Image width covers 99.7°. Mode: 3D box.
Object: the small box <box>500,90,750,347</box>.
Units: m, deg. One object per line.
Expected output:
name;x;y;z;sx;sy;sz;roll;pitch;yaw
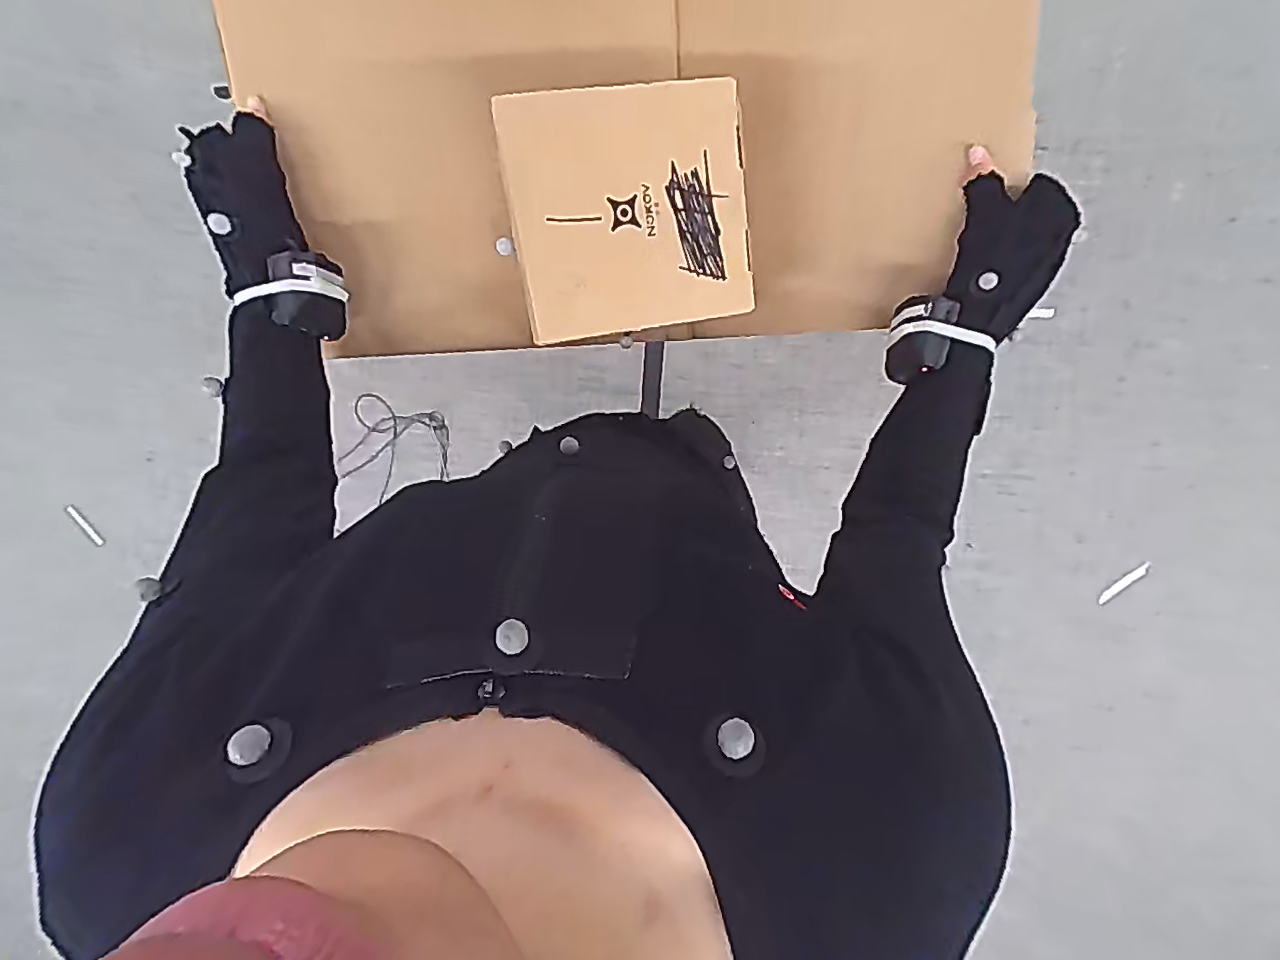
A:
small box;-0.020;-0.215;0.480;0.179;0.176;0.168;-11;106;-9
